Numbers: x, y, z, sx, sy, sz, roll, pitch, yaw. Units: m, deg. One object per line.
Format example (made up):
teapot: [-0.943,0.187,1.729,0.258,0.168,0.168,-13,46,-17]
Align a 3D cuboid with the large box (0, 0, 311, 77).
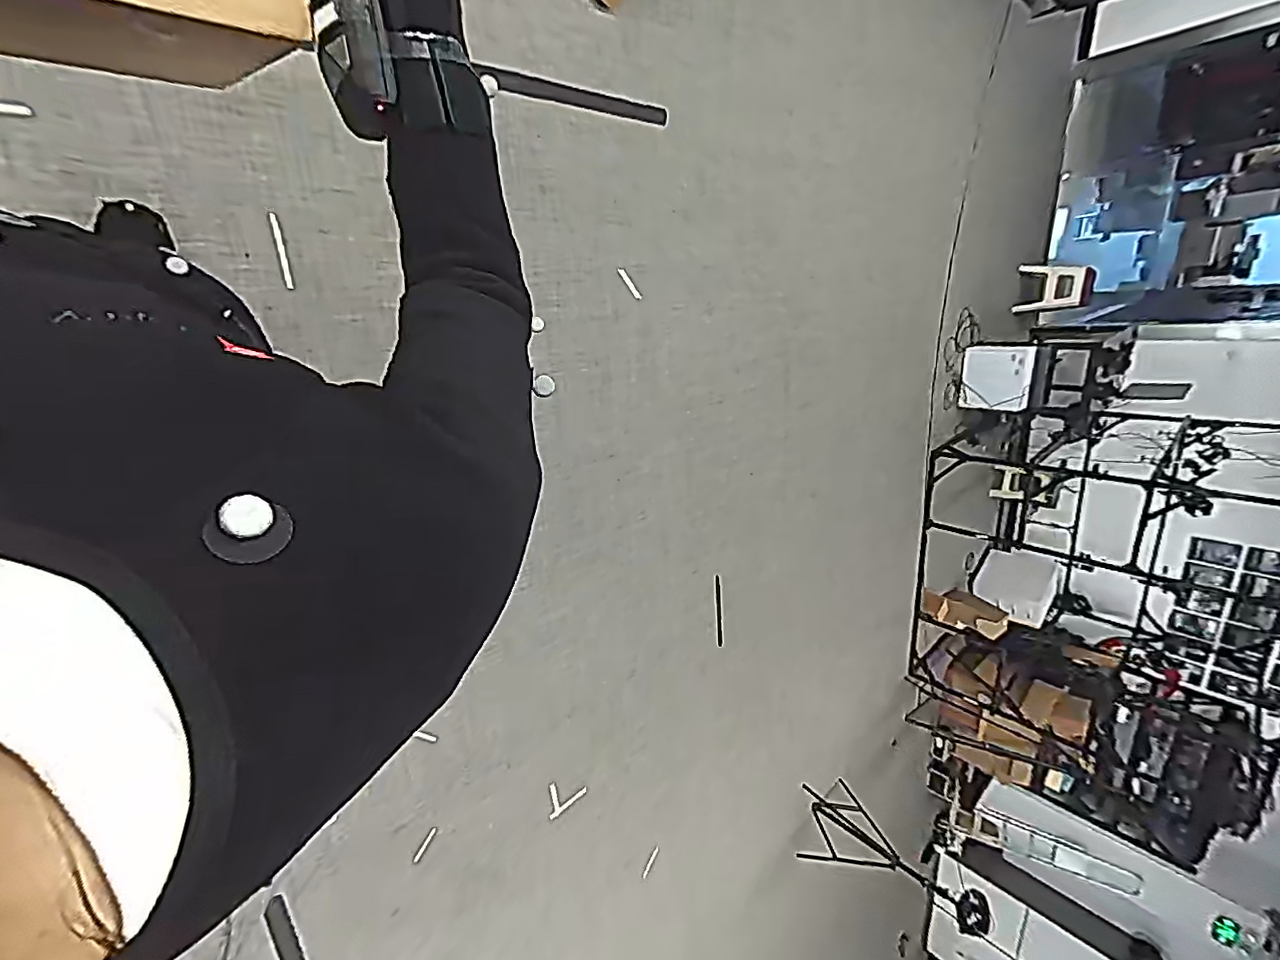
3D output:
large box: [-0.442,-0.412,0.239,0.408,0.320,0.320,-21,127,-39]
